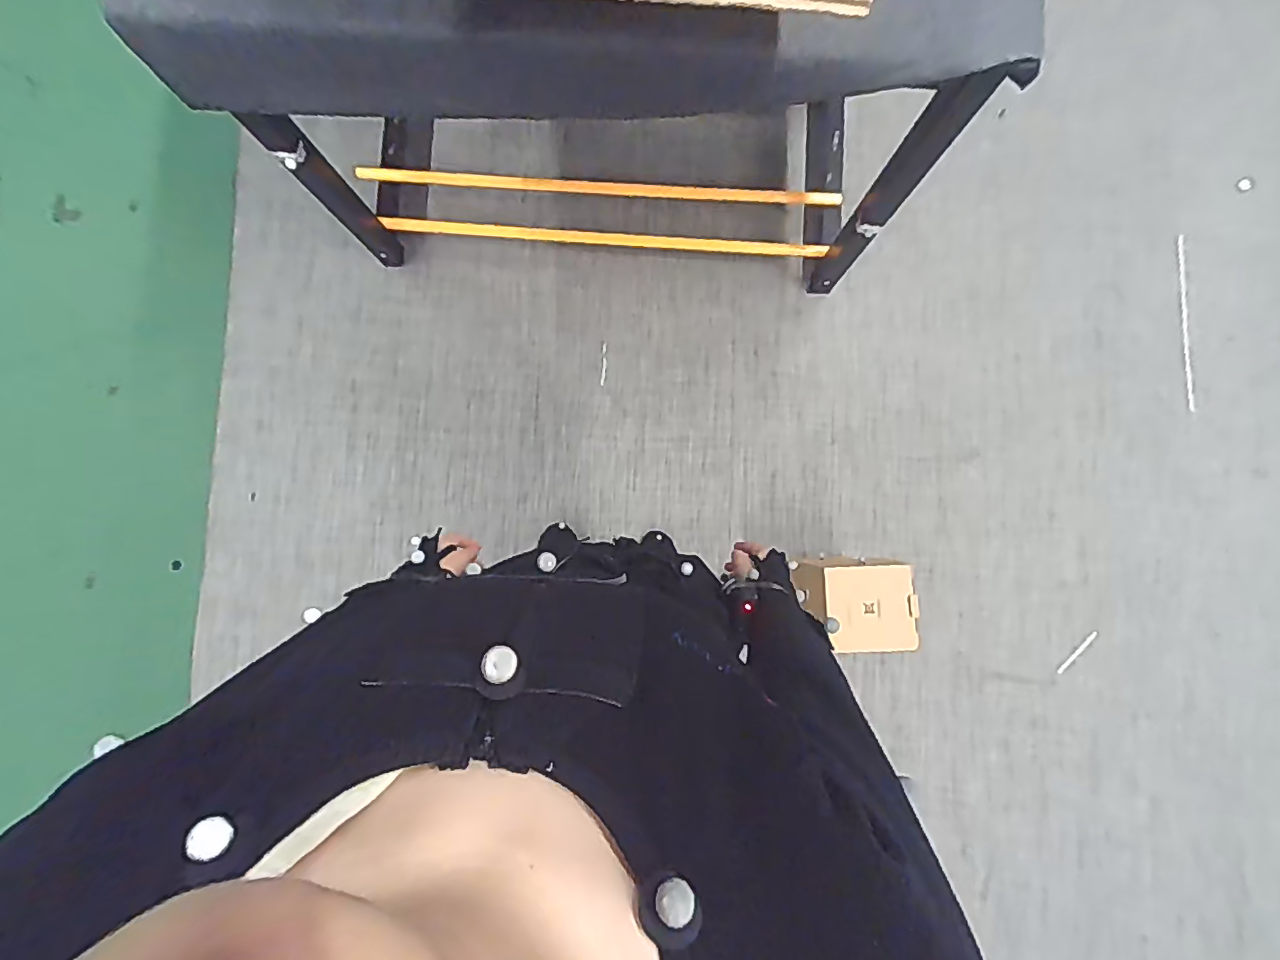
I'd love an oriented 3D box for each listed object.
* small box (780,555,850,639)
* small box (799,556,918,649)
[{"bbox_3d":[0.438,0.270,1.285,0.168,0.176,0.179,-3,85,0],"label":"small box"},{"bbox_3d":[0.444,0.247,1.123,0.179,0.176,0.168,-3,85,0],"label":"small box"}]
